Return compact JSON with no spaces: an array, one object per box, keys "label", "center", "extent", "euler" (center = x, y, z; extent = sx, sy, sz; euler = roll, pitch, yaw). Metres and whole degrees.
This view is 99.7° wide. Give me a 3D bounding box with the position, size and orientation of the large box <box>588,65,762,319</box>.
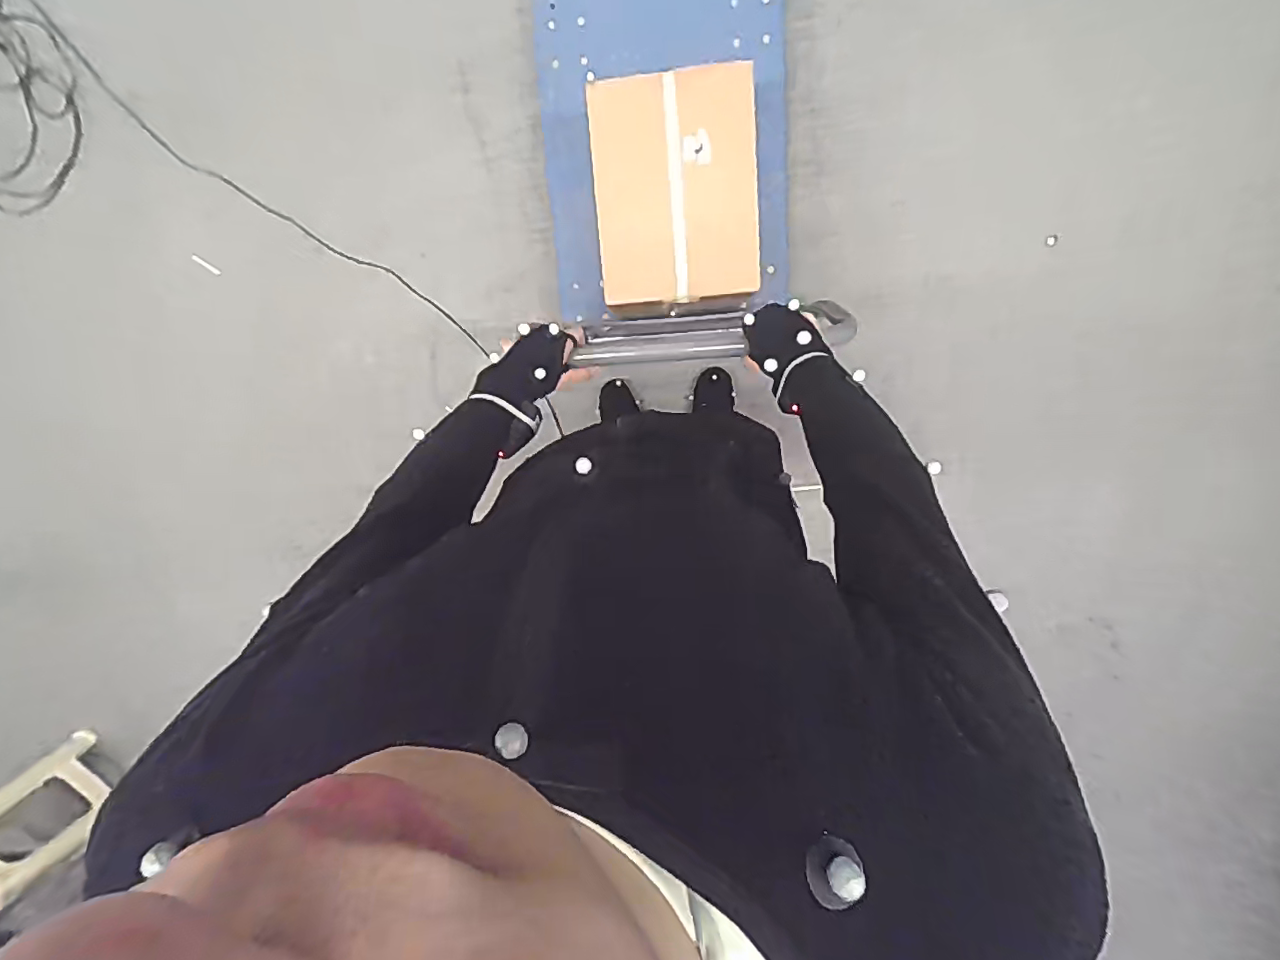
[{"label":"large box","center":[0.083,-0.587,1.189],"extent":[0.320,0.320,0.408],"euler":[-4,101,4]}]
